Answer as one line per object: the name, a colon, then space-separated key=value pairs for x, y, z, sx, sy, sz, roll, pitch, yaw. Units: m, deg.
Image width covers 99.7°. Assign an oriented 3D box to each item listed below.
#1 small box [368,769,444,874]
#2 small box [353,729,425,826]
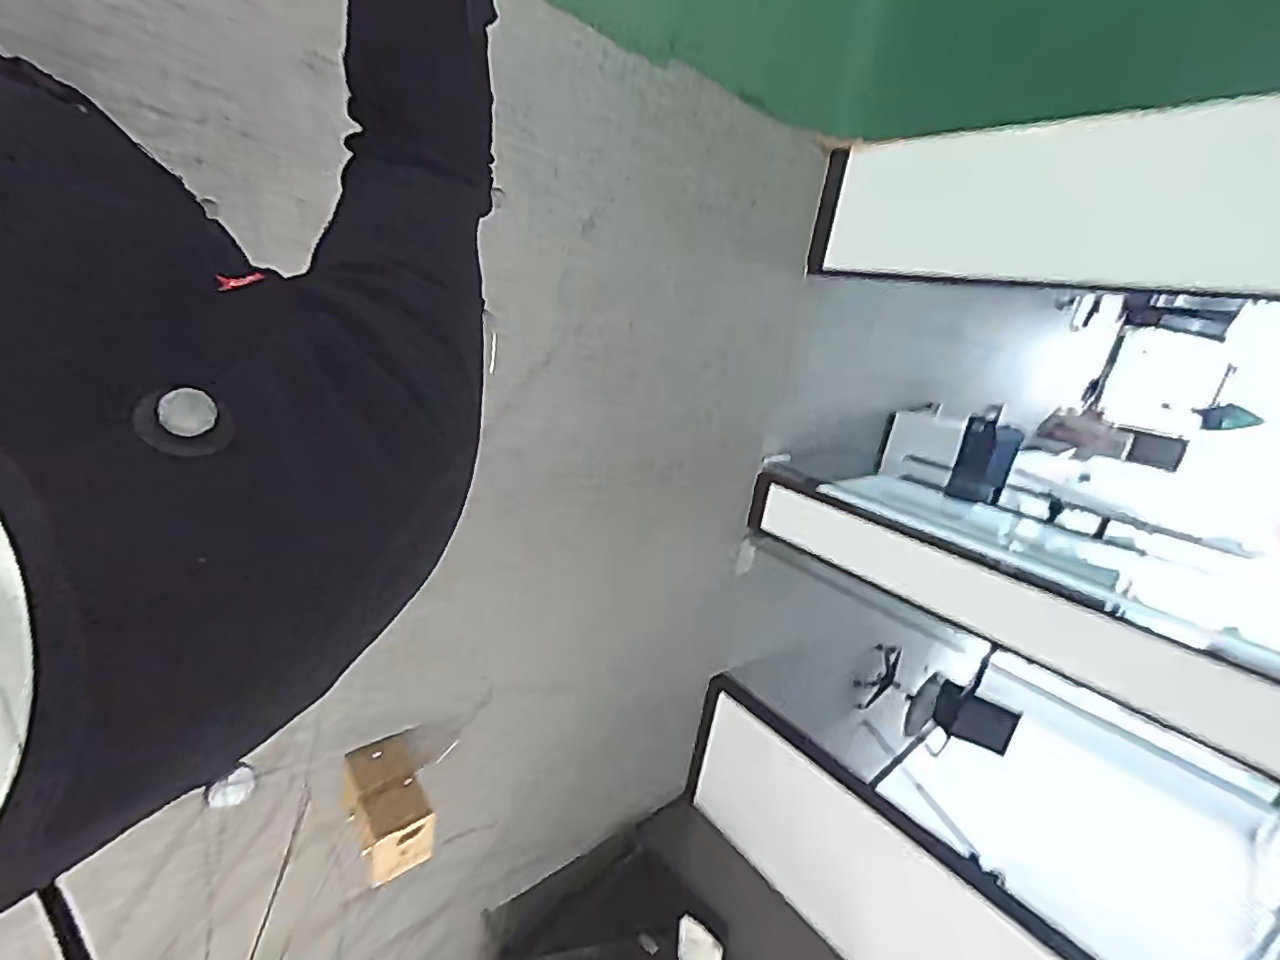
small box: x=-0.695 y=0.996 z=1.601 sx=0.168 sy=0.176 sz=0.179 roll=-6 pitch=114 yaw=-40
small box: x=-0.798 y=0.935 z=1.714 sx=0.168 sy=0.176 sz=0.179 roll=-6 pitch=113 yaw=-41
